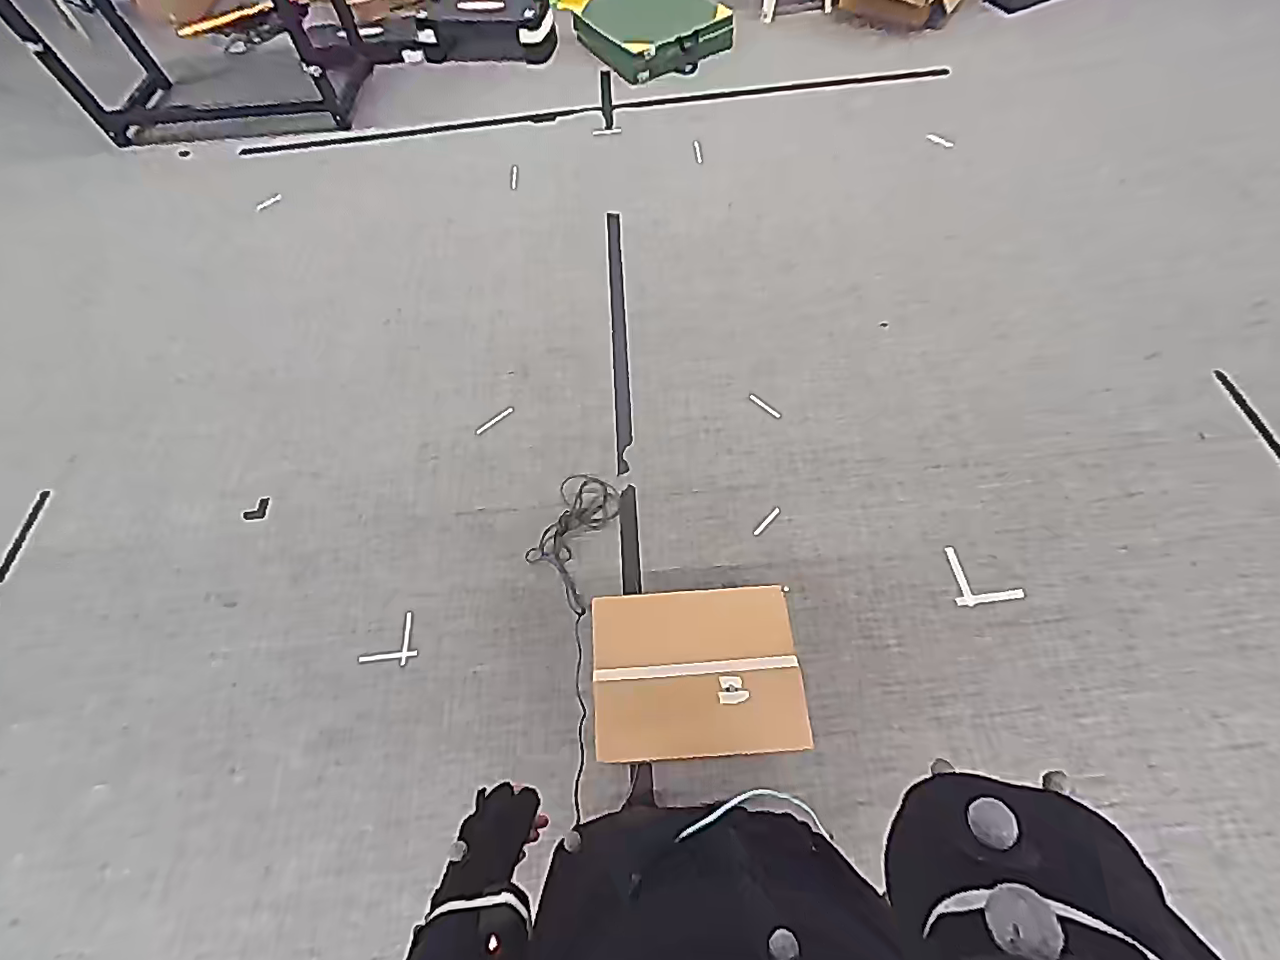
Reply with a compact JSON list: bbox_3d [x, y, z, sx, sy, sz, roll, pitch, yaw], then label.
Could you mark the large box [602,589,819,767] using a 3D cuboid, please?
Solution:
[{"bbox_3d":[0.131,0.449,1.201,0.408,0.320,0.320,-3,62,0],"label":"large box"}]
